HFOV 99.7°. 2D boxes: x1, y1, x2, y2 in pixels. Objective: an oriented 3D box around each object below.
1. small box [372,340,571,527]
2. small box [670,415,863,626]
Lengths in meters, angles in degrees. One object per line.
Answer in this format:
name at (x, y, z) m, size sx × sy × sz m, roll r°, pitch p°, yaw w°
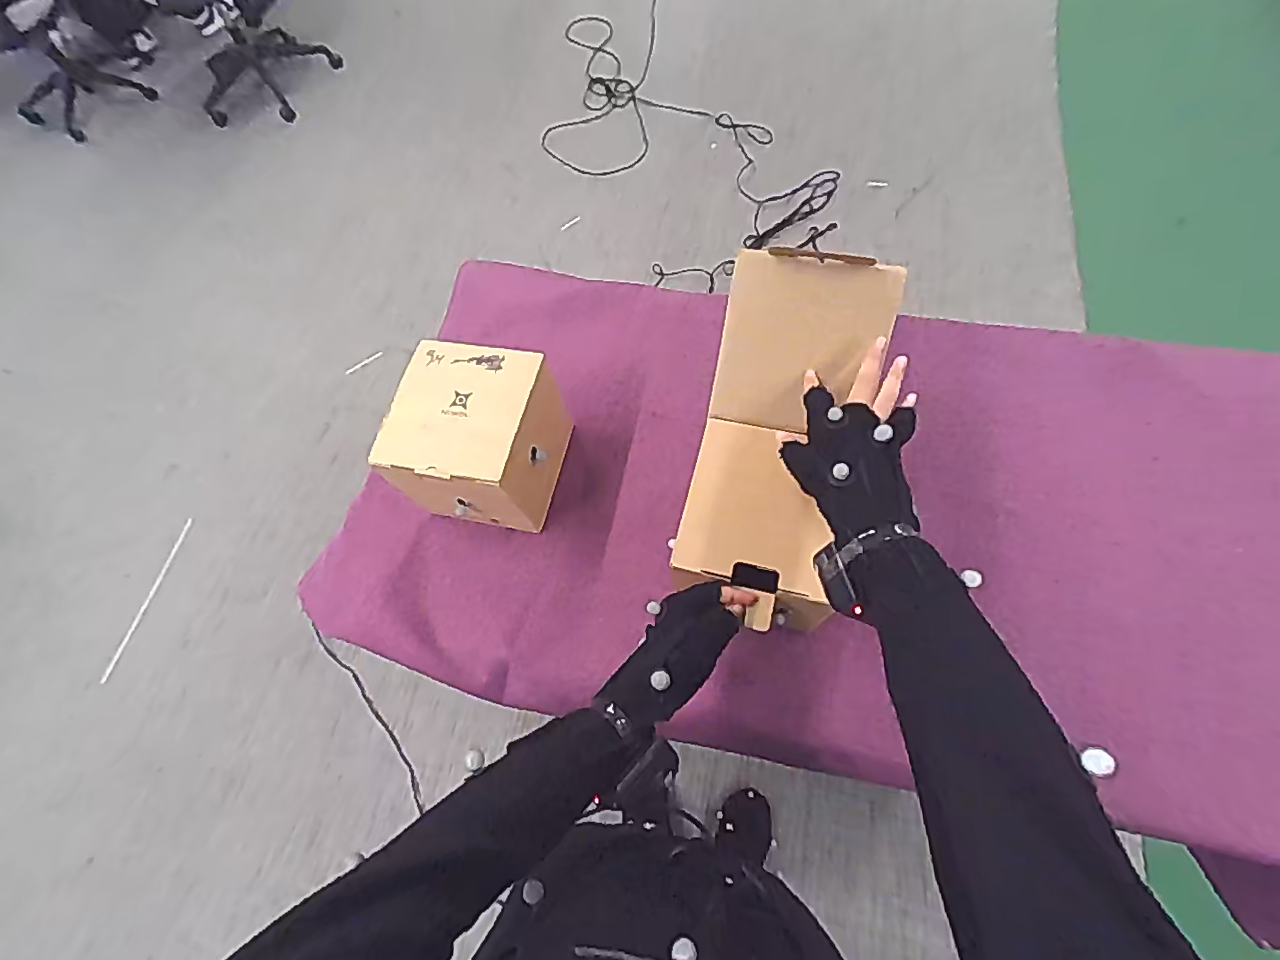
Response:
small box at (-0.200, -0.052, 0.701) m, size 0.168 × 0.176 × 0.179 m, roll 9°, pitch 68°, yaw 10°
small box at (0.139, 0.054, 0.614) m, size 0.168 × 0.176 × 0.179 m, roll 12°, pitch 68°, yaw 11°
